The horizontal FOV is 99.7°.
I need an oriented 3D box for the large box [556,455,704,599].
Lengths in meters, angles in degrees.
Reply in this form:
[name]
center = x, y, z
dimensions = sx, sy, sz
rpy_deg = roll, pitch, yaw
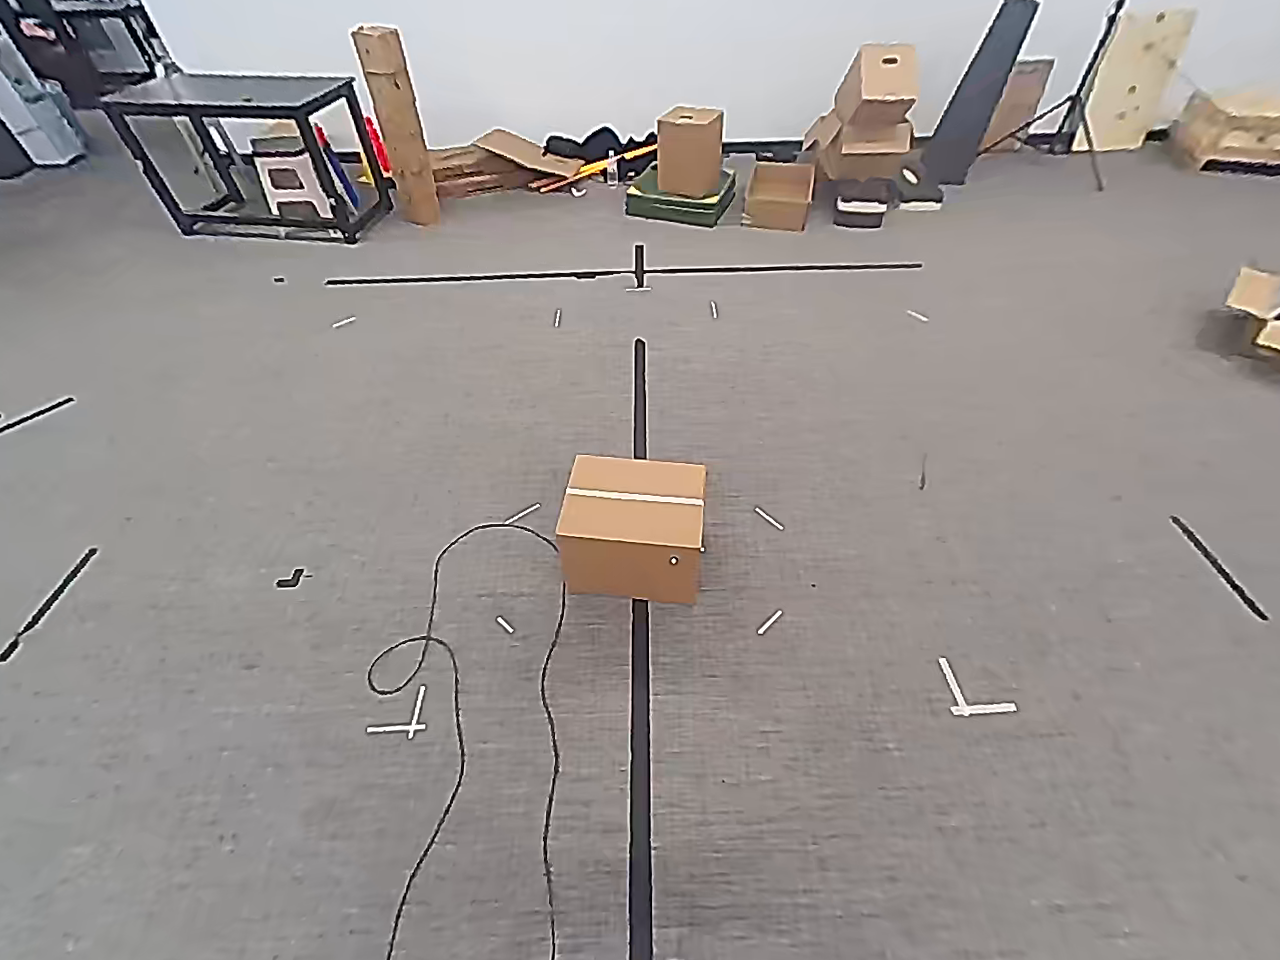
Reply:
[large box]
center = -0.017, 0.148, 1.672
dimensions = 0.408, 0.320, 0.320
rpy_deg = 5, 48, 4
